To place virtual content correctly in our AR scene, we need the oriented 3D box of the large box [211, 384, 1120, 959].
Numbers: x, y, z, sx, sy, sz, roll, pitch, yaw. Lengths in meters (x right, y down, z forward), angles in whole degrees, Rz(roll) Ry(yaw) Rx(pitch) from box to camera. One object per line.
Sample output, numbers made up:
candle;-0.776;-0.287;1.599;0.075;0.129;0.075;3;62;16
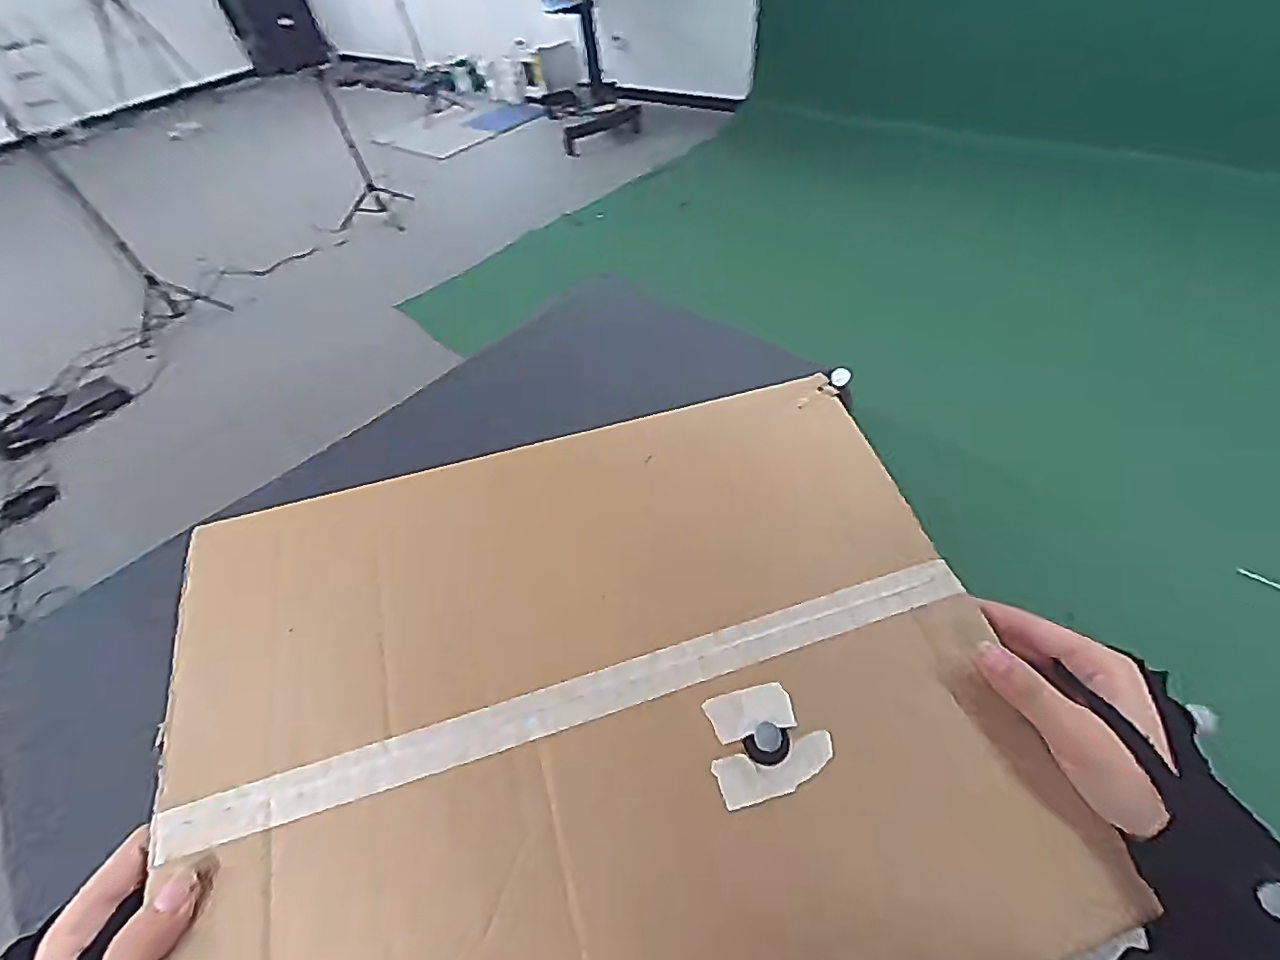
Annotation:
large box;-0.012;0.180;0.415;0.408;0.320;0.320;-14;62;-10
